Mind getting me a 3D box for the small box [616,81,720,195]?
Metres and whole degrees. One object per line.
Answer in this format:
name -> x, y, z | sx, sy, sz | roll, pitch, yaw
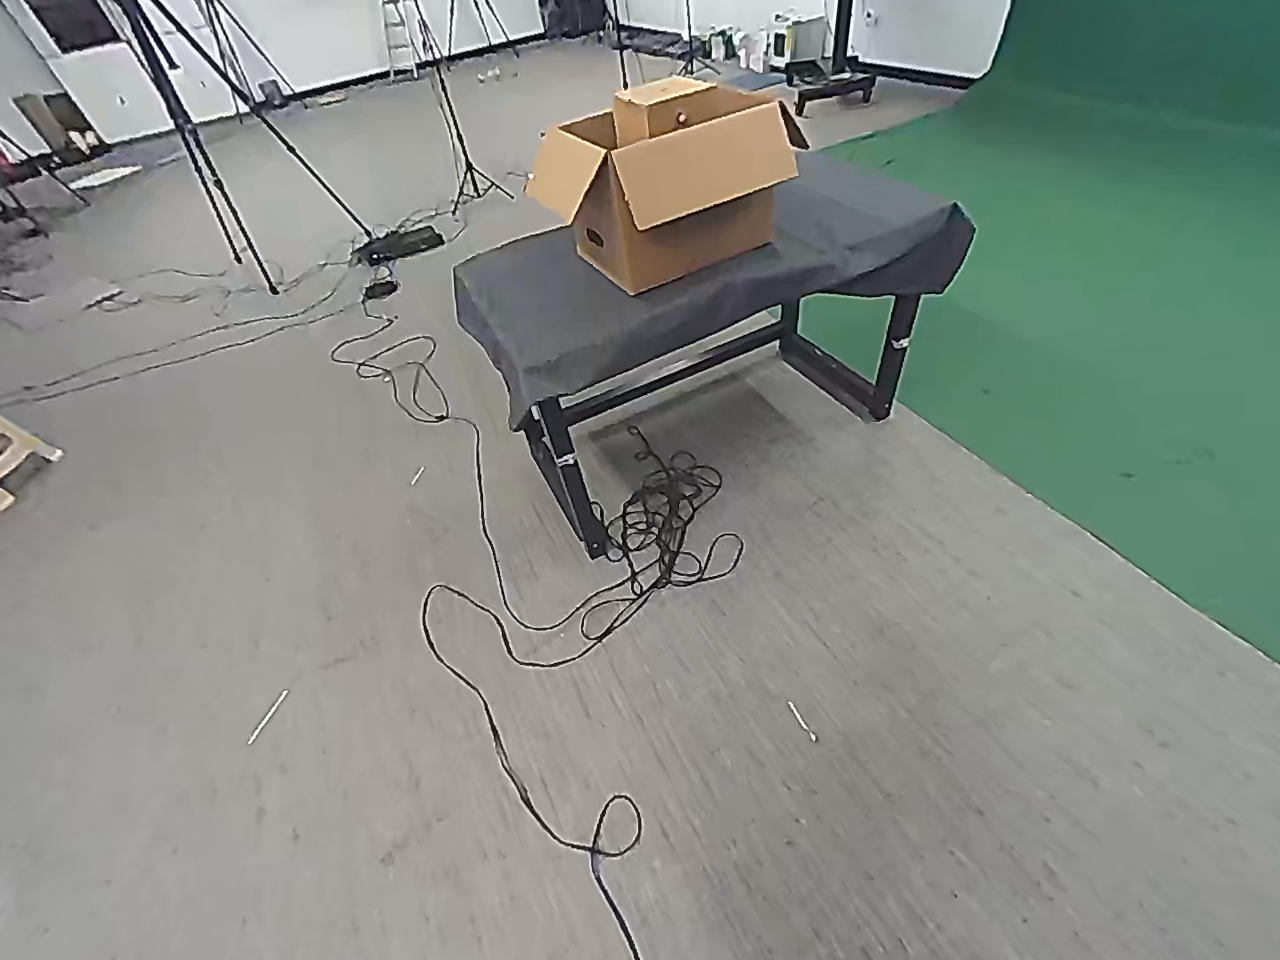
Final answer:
small box -> 0.065, -0.775, 1.224 | 0.179, 0.176, 0.168 | -25, 48, -14
